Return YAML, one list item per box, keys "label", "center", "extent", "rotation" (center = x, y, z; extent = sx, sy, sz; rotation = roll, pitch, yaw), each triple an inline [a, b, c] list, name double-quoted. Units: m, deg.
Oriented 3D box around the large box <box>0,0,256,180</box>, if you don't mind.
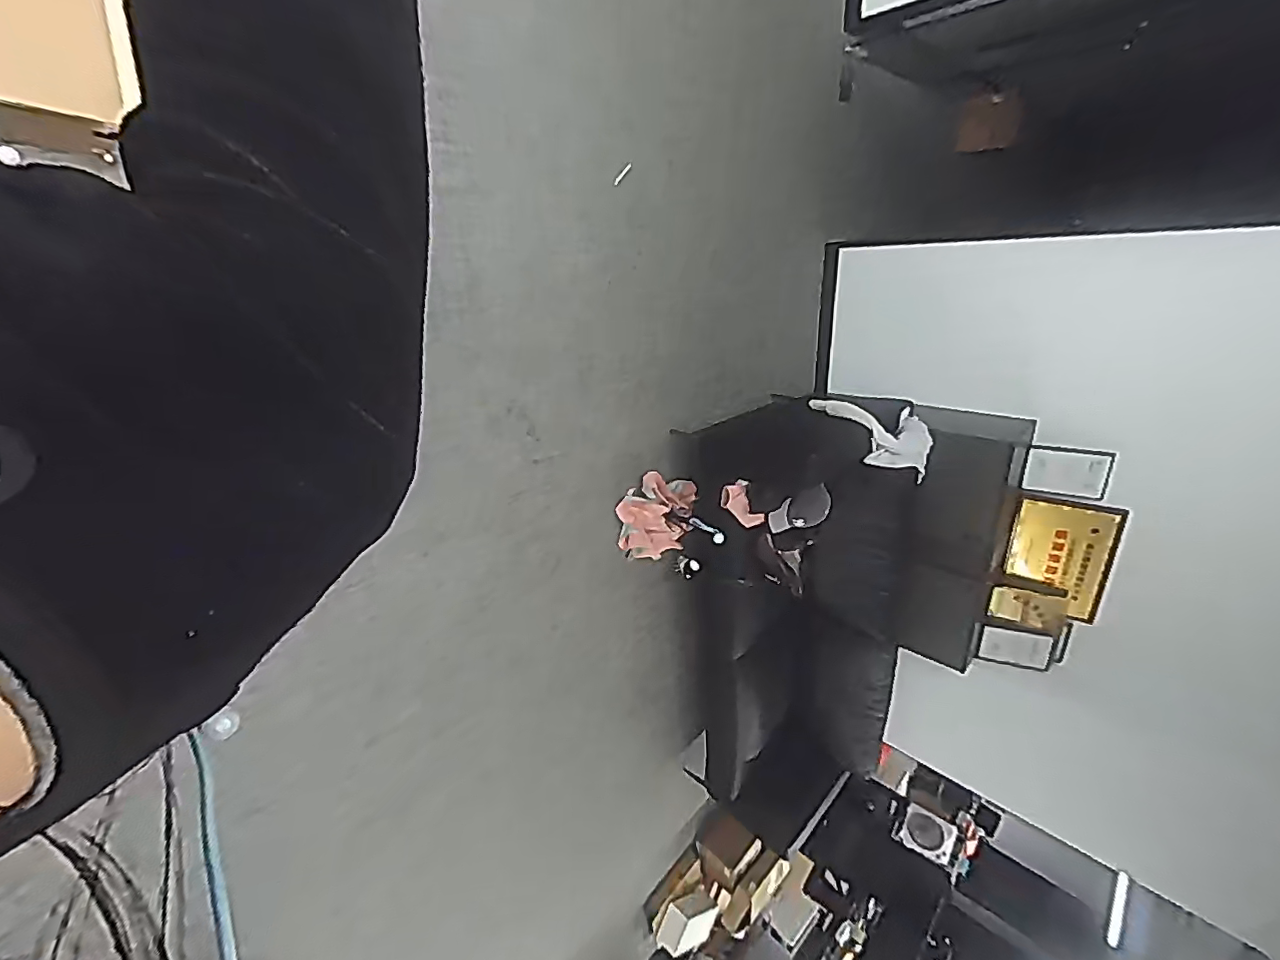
- label: "large box"
  center: [-0.875, -0.760, 0.884]
  extent: [0.320, 0.320, 0.408]
  rotation: [-13, 112, -44]
